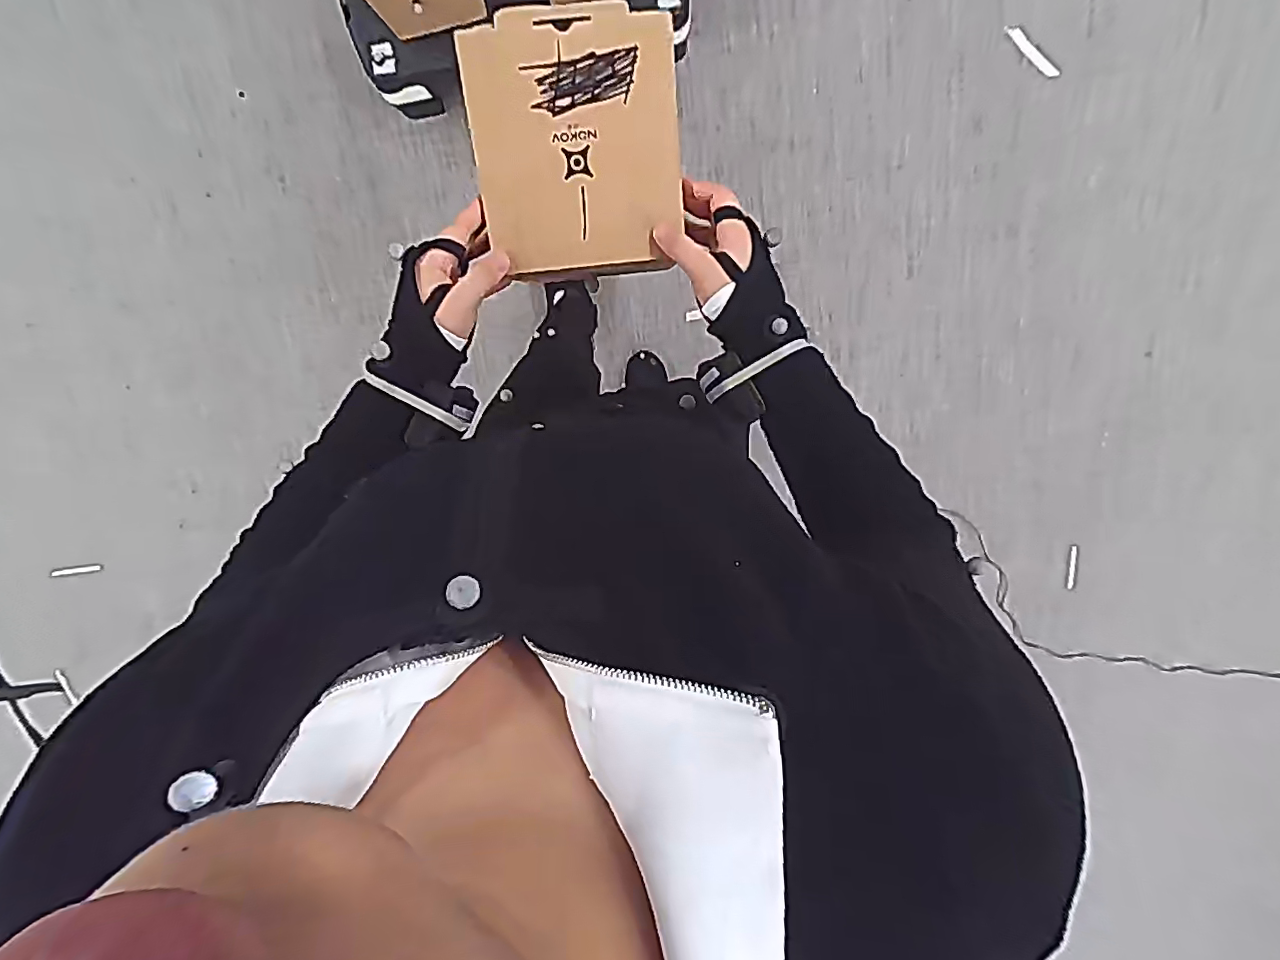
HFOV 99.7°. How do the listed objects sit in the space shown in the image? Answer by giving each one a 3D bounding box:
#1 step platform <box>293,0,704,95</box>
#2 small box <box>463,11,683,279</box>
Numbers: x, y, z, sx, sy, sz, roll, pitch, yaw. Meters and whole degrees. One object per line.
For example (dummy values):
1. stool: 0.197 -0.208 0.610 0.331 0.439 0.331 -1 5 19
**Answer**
1. step platform: -0.228 -0.895 0.909 0.684 0.204 0.286 -10 107 3
2. small box: -0.053 -0.296 0.516 0.168 0.176 0.179 -6 108 0
